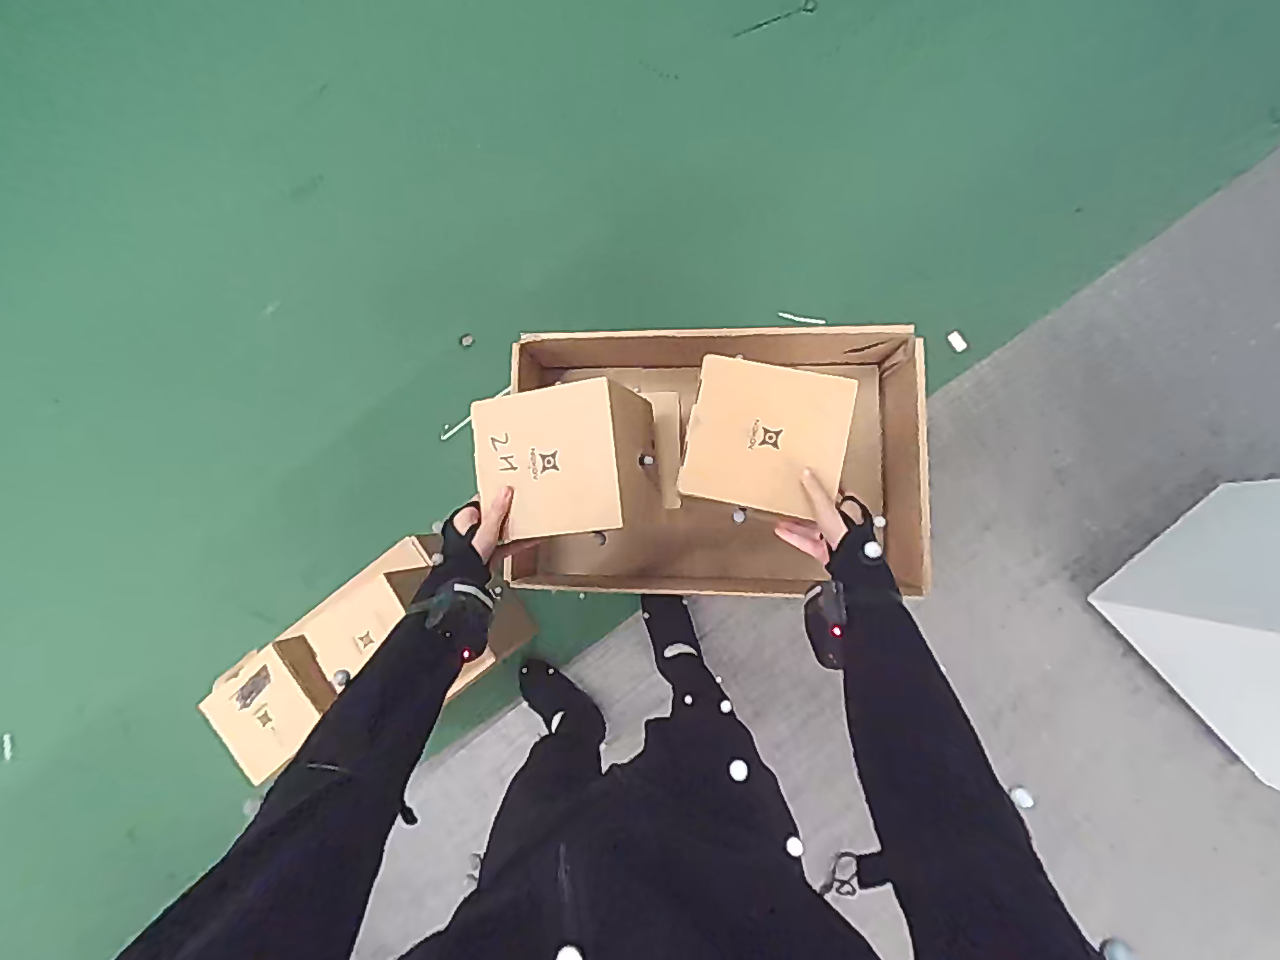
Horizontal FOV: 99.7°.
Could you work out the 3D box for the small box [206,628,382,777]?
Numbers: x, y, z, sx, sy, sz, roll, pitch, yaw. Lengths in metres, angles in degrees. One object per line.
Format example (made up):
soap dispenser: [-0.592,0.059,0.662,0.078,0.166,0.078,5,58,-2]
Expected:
small box: [-0.624,0.393,0.995,0.168,0.176,0.179,-40,83,1]

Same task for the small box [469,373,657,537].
small box: [-0.084,-0.023,0.675,0.179,0.176,0.168,-8,85,18]
